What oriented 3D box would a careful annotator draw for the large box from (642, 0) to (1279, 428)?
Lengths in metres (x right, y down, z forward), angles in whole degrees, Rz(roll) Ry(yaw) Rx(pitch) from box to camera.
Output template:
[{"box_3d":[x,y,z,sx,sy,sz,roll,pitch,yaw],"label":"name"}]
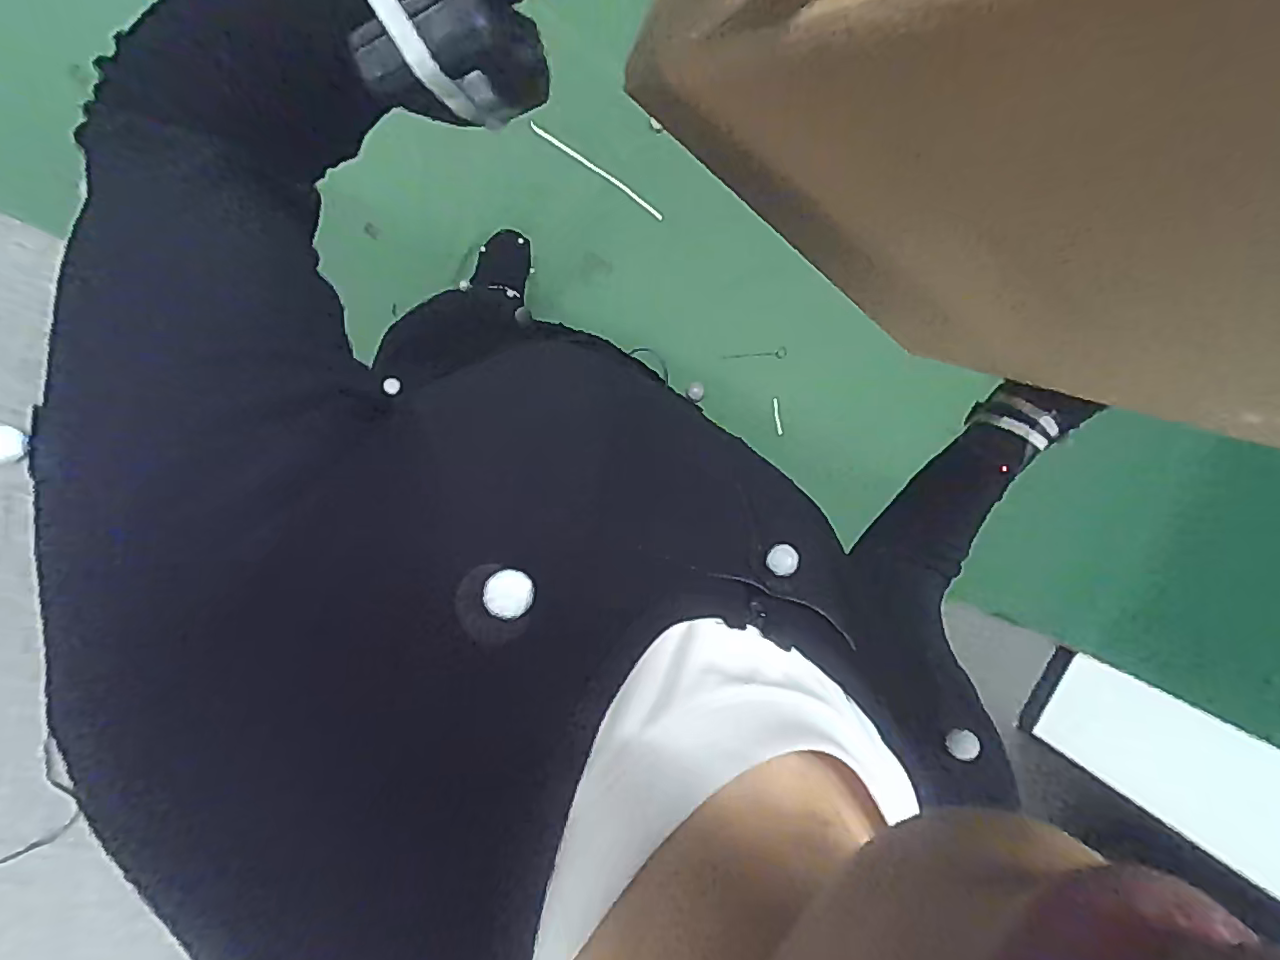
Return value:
[{"box_3d":[0.279,-0.253,0.285,0.408,0.320,0.320,16,104,-42],"label":"large box"}]
